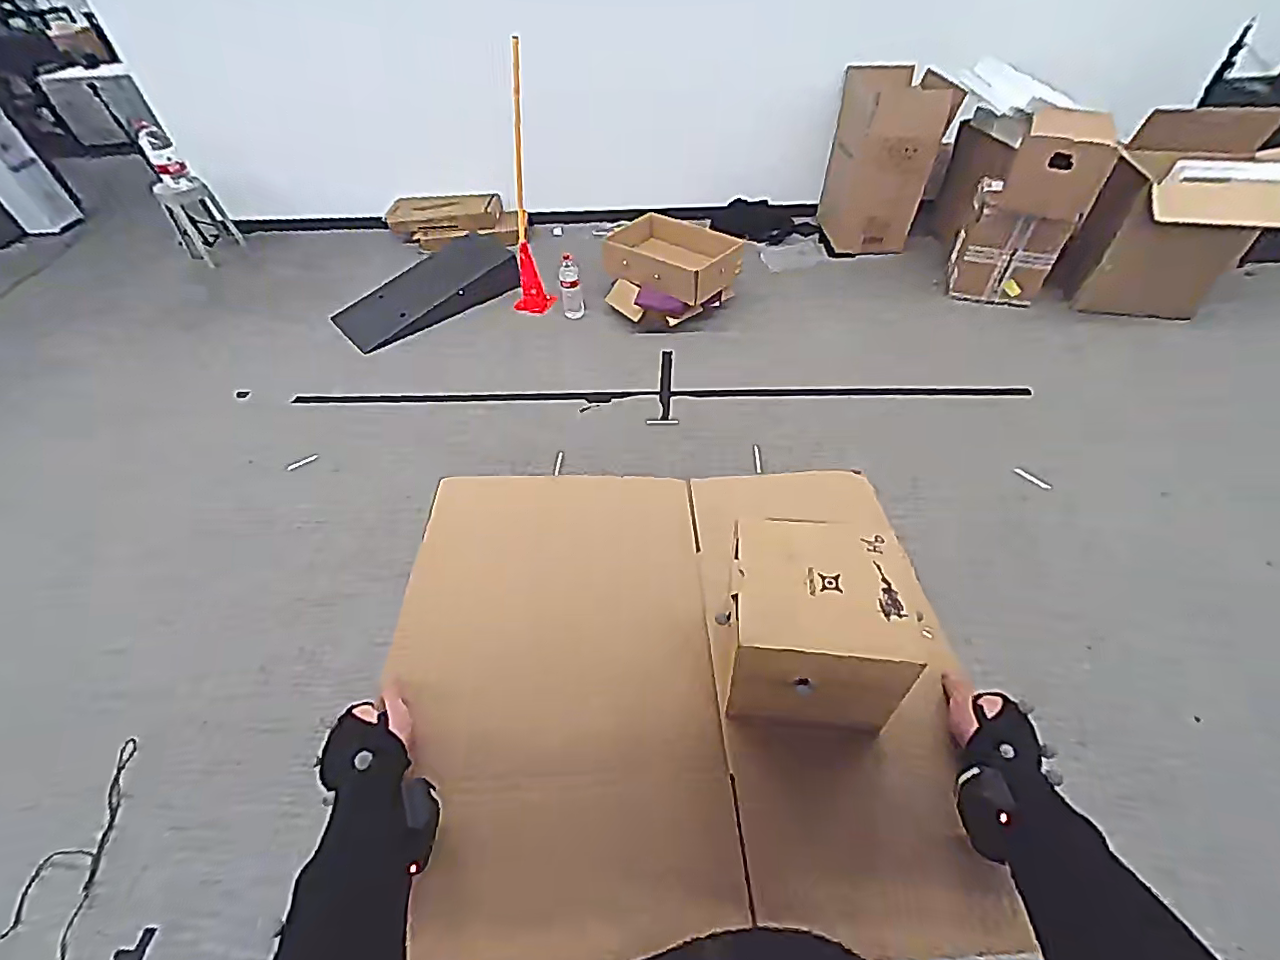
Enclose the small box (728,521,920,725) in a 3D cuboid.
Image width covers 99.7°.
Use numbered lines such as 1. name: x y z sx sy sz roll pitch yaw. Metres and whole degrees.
1. small box: 0.193 0.167 0.627 0.179 0.176 0.168 3 46 7
